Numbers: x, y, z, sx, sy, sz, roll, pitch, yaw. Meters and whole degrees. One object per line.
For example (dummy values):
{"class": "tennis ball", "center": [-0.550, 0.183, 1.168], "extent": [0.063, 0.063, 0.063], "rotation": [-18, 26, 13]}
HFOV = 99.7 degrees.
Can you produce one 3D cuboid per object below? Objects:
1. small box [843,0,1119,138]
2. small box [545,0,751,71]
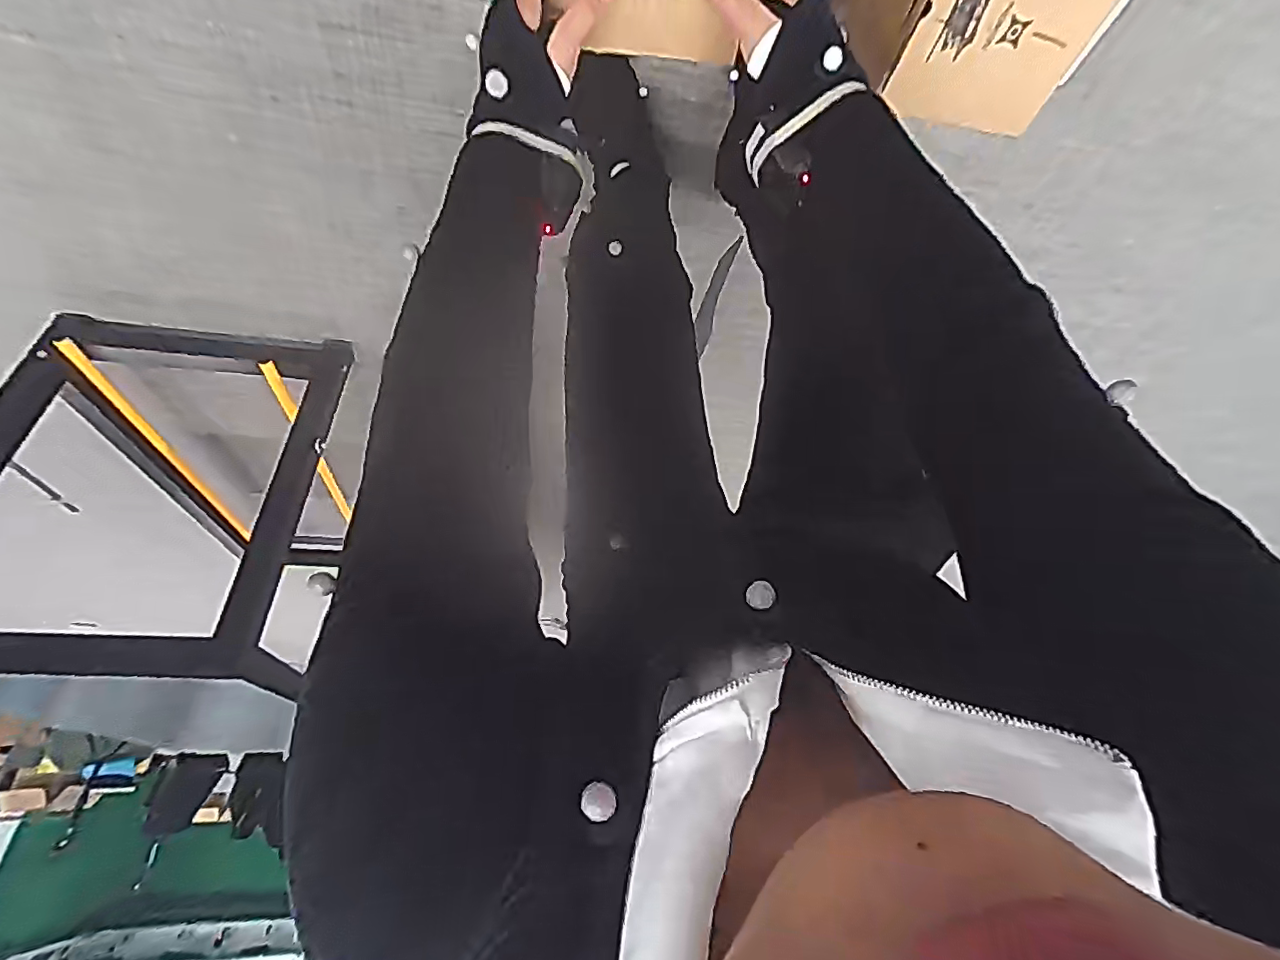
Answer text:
{"class": "small box", "center": [0.329, -0.480, 0.533], "extent": [0.179, 0.176, 0.168], "rotation": [4, 149, -11]}
{"class": "small box", "center": [0.010, -0.470, 0.438], "extent": [0.168, 0.176, 0.179], "rotation": [3, 144, -3]}
